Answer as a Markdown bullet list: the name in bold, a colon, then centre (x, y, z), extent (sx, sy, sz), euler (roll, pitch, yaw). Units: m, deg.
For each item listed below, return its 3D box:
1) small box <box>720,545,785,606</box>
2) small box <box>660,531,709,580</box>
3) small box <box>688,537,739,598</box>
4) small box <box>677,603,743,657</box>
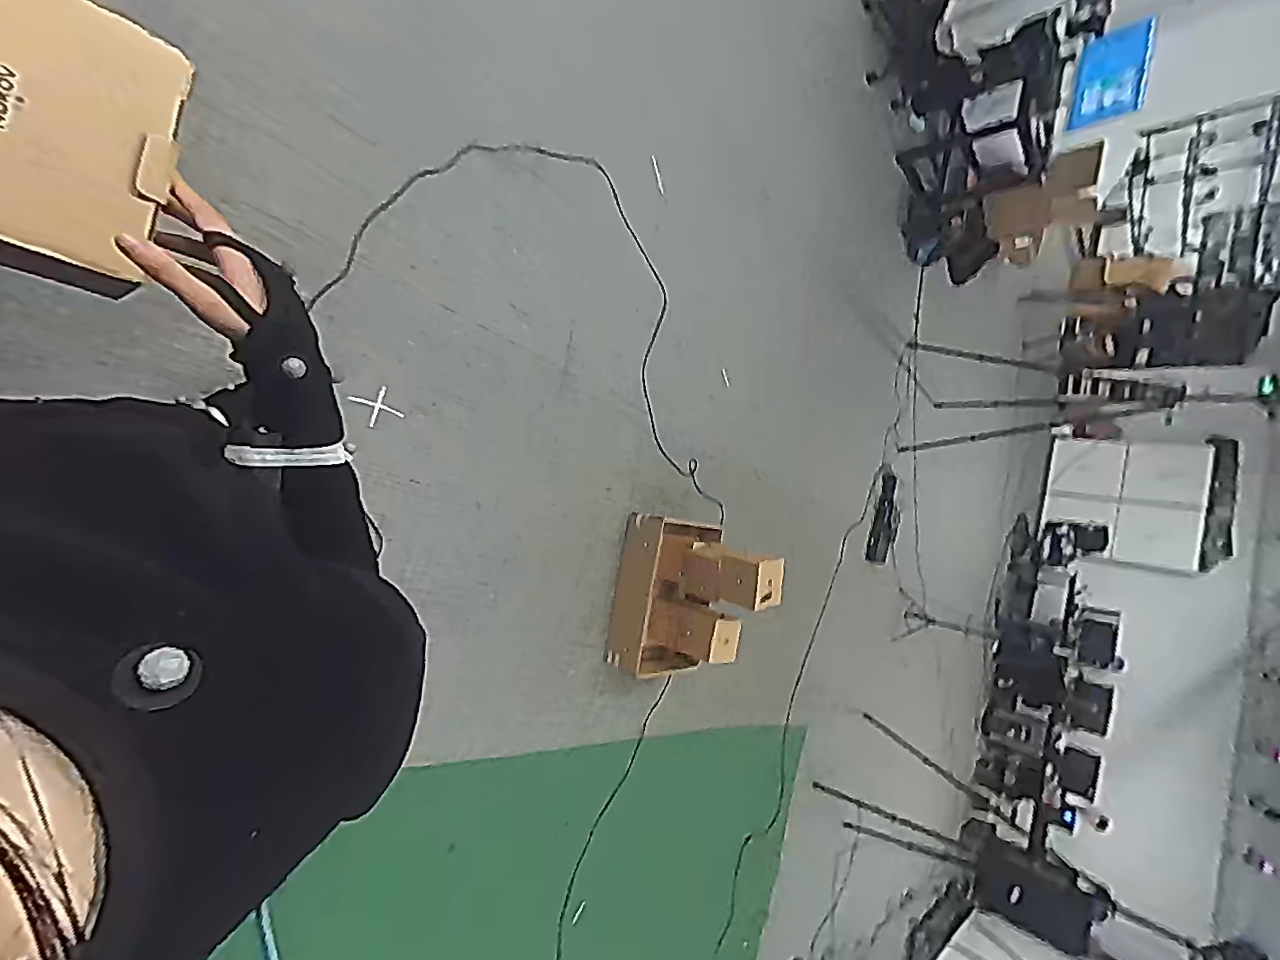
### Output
- **small box**: centre (0.413, 0.347, 2.001), extent (0.168, 0.176, 0.179), euler (-1, 97, -43)
- **small box**: centre (0.203, 0.313, 2.249), extent (0.168, 0.176, 0.179), euler (12, 90, -43)
- **small box**: centre (0.301, 0.339, 2.121), extent (0.168, 0.176, 0.179), euler (-10, 104, -42)
- **small box**: centre (0.275, 0.587, 2.129), extent (0.179, 0.176, 0.168), euler (14, 85, -44)
